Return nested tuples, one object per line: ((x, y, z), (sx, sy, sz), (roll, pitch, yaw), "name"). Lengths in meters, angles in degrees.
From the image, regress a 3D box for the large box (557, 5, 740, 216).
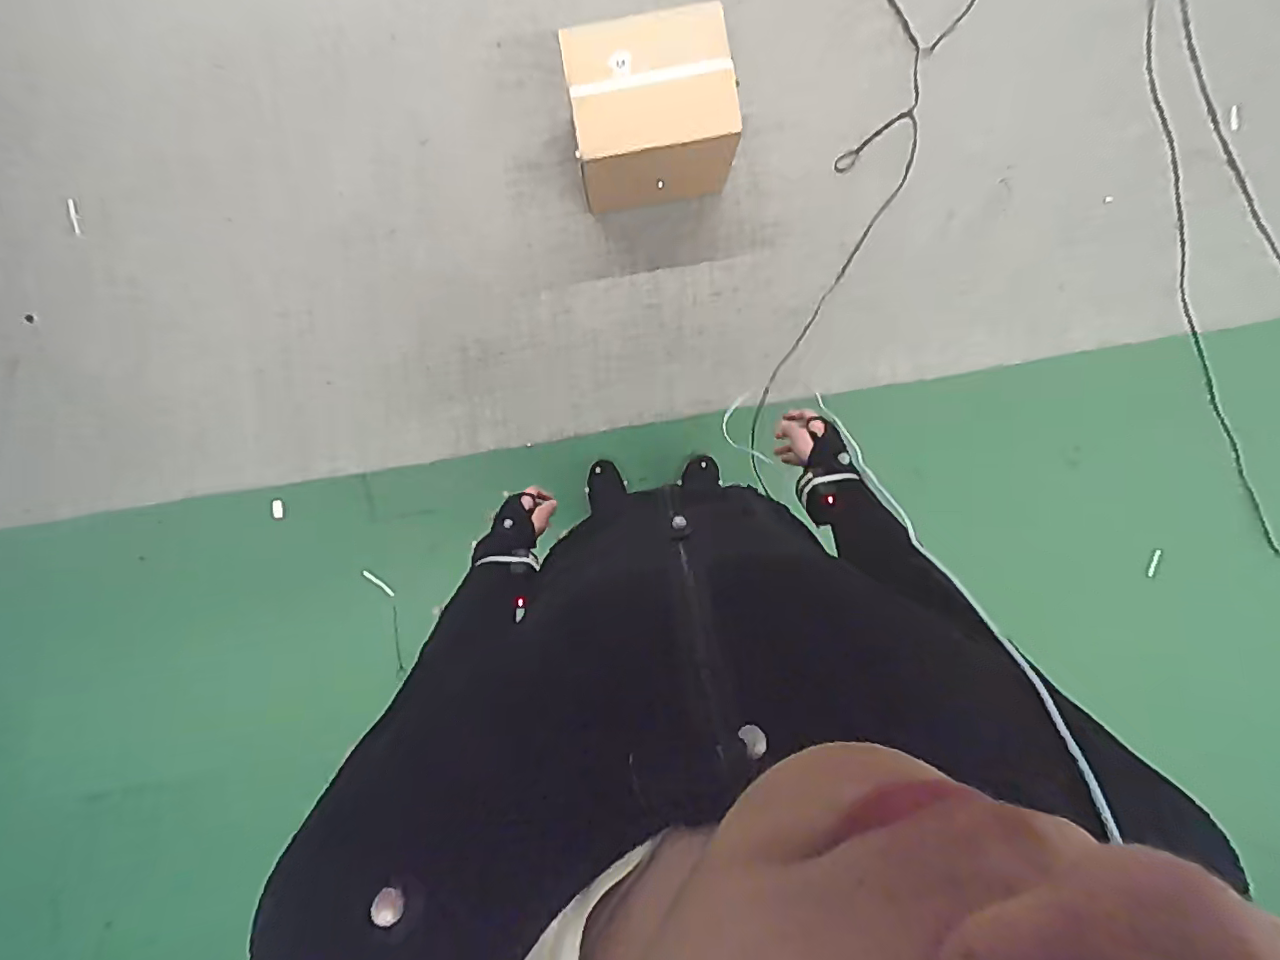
((0.024, -0.970, 1.468), (0.408, 0.320, 0.320), (-11, 92, 1), "large box")
